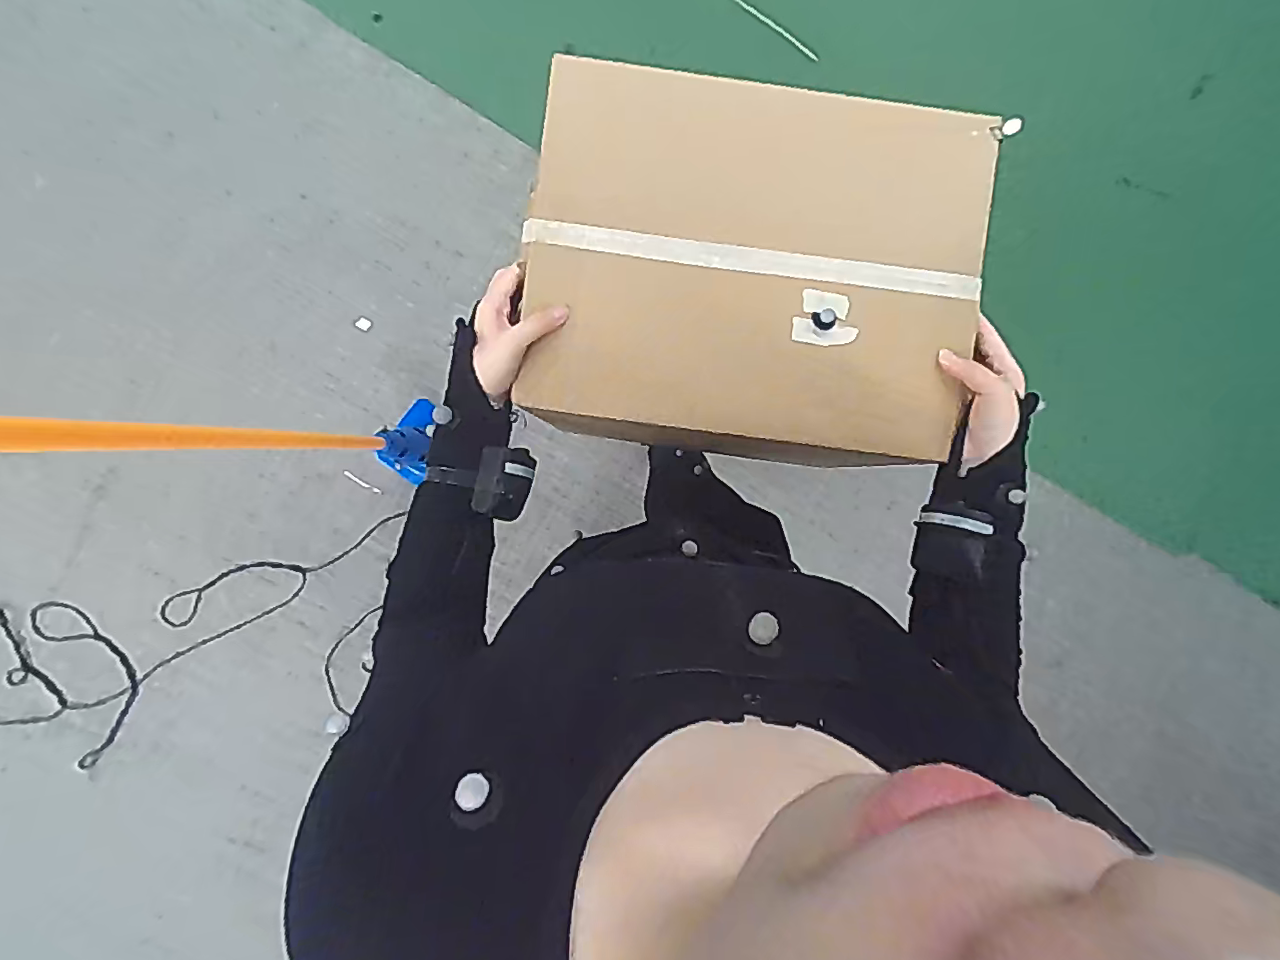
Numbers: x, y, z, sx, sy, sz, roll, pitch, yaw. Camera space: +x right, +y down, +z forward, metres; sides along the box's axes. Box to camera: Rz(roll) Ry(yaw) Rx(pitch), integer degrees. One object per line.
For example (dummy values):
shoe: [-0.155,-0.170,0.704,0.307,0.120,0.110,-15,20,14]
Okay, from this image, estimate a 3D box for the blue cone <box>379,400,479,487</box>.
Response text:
blue cone: [-0.529,-0.093,1.259,0.193,0.380,0.192,39,86,-6]

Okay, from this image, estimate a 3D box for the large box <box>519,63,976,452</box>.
large box: [0.094,-0.208,0.640,0.408,0.320,0.320,6,91,-2]
